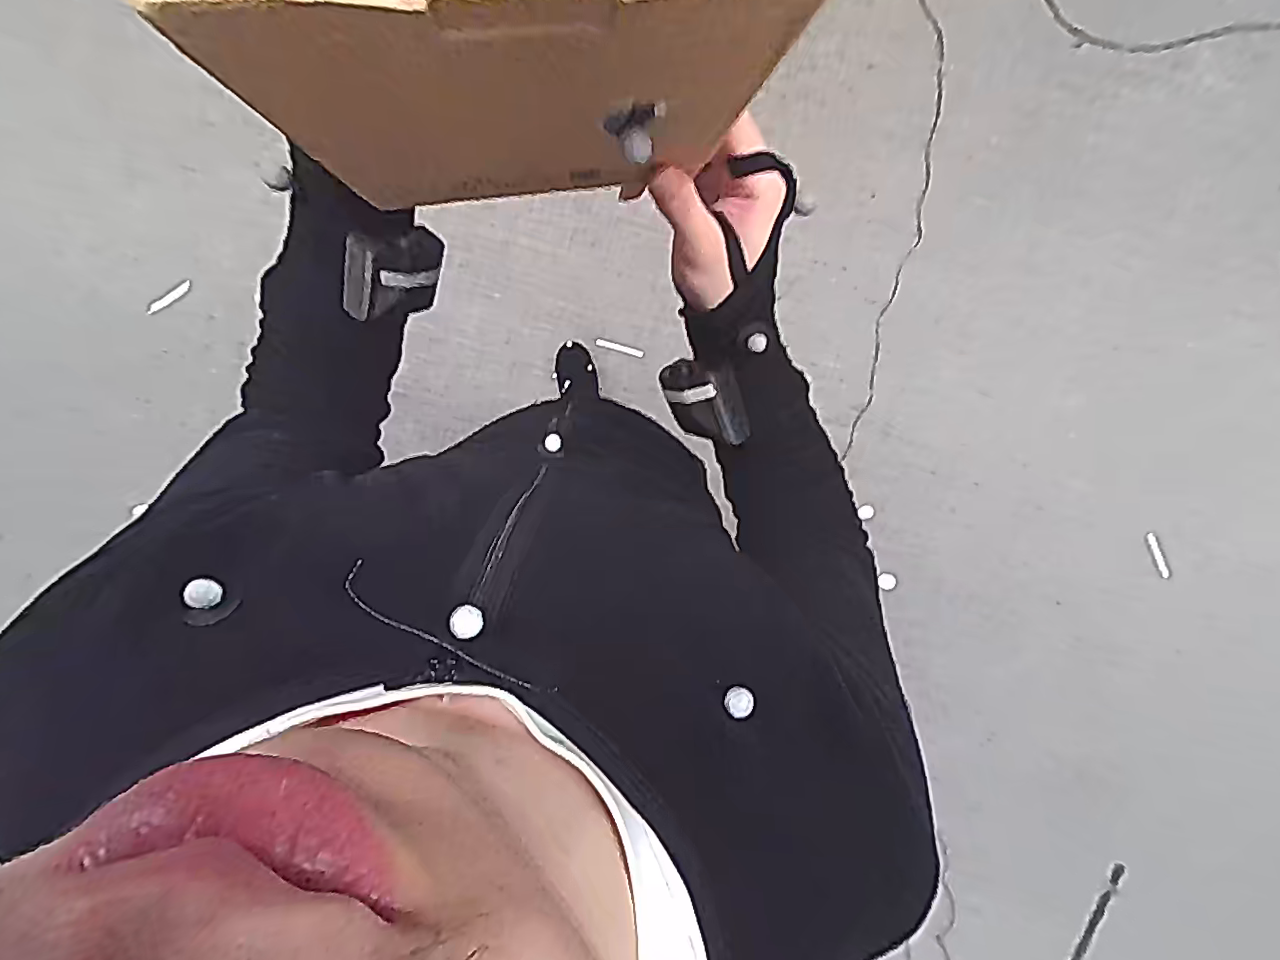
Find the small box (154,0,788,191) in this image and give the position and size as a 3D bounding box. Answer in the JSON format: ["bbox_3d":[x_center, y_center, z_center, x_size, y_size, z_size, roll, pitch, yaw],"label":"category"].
[{"bbox_3d":[-0.055,-0.219,0.192,0.168,0.176,0.179,-9,104,-7],"label":"small box"}]
